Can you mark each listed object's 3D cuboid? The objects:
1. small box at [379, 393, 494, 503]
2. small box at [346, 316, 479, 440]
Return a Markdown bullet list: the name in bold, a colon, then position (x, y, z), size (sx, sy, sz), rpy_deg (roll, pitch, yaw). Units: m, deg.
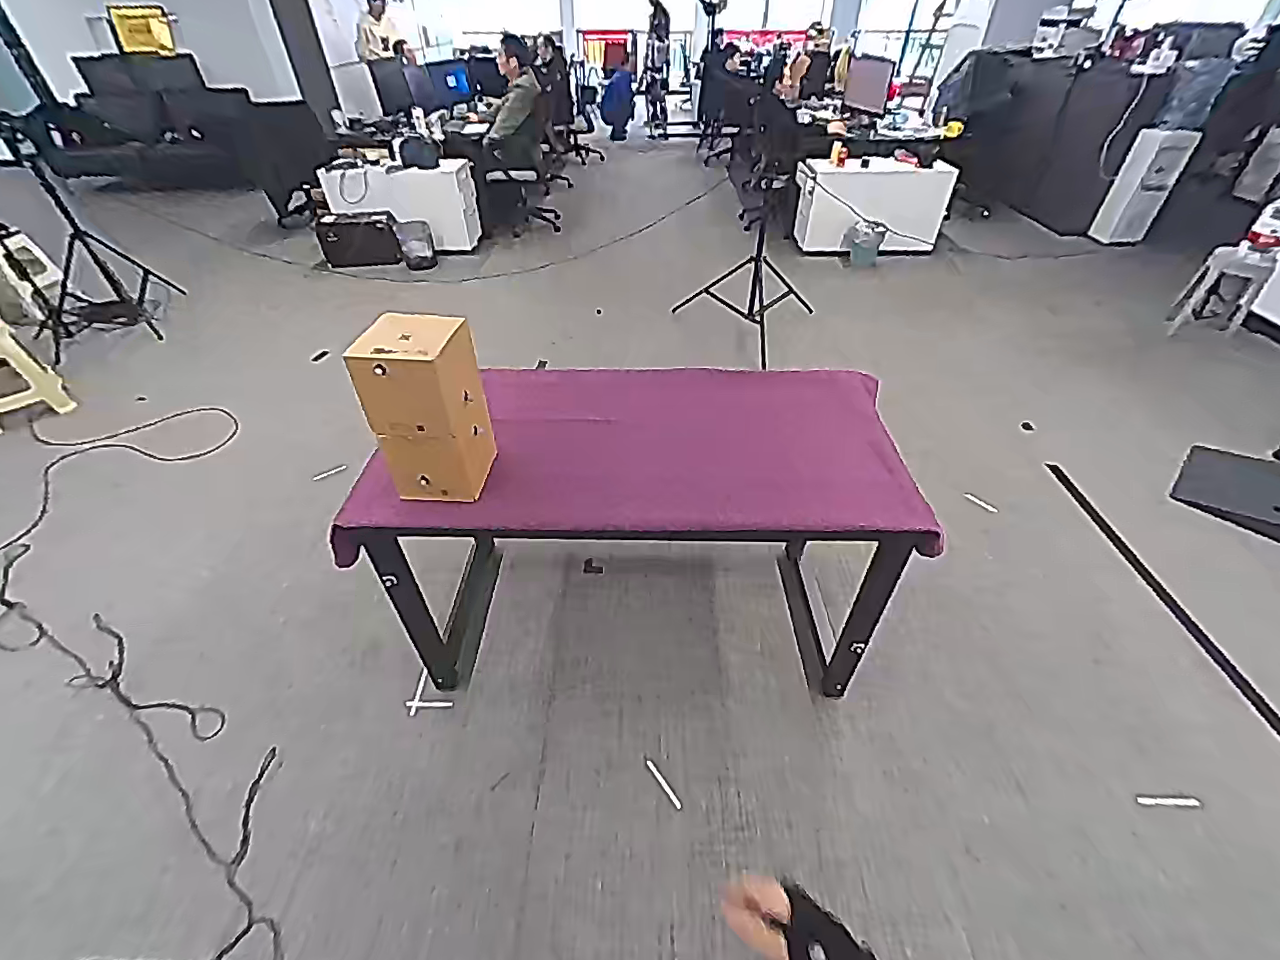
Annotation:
- **small box**: position (-0.419, -0.073, 1.147), size (0.168, 0.176, 0.179), rpy_deg (2, 41, 2)
- **small box**: position (-0.423, -0.197, 1.041), size (0.168, 0.176, 0.179), rpy_deg (4, 40, 4)
